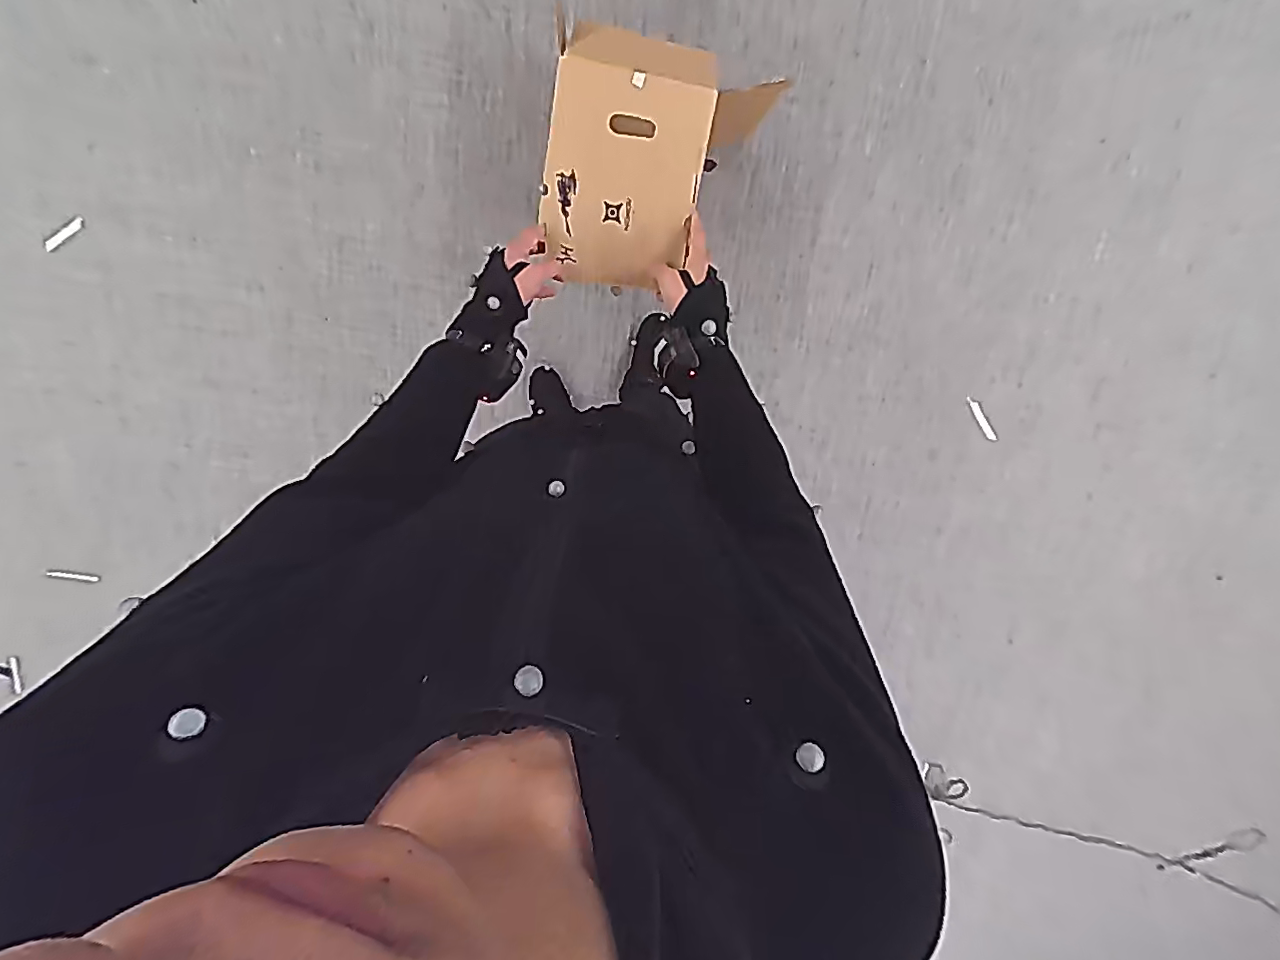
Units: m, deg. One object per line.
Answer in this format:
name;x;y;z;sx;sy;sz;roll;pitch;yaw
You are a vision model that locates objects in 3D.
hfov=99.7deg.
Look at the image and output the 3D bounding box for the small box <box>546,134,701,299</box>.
small box;-0.024;-0.348;0.733;0.179;0.176;0.168;6;113;-2
